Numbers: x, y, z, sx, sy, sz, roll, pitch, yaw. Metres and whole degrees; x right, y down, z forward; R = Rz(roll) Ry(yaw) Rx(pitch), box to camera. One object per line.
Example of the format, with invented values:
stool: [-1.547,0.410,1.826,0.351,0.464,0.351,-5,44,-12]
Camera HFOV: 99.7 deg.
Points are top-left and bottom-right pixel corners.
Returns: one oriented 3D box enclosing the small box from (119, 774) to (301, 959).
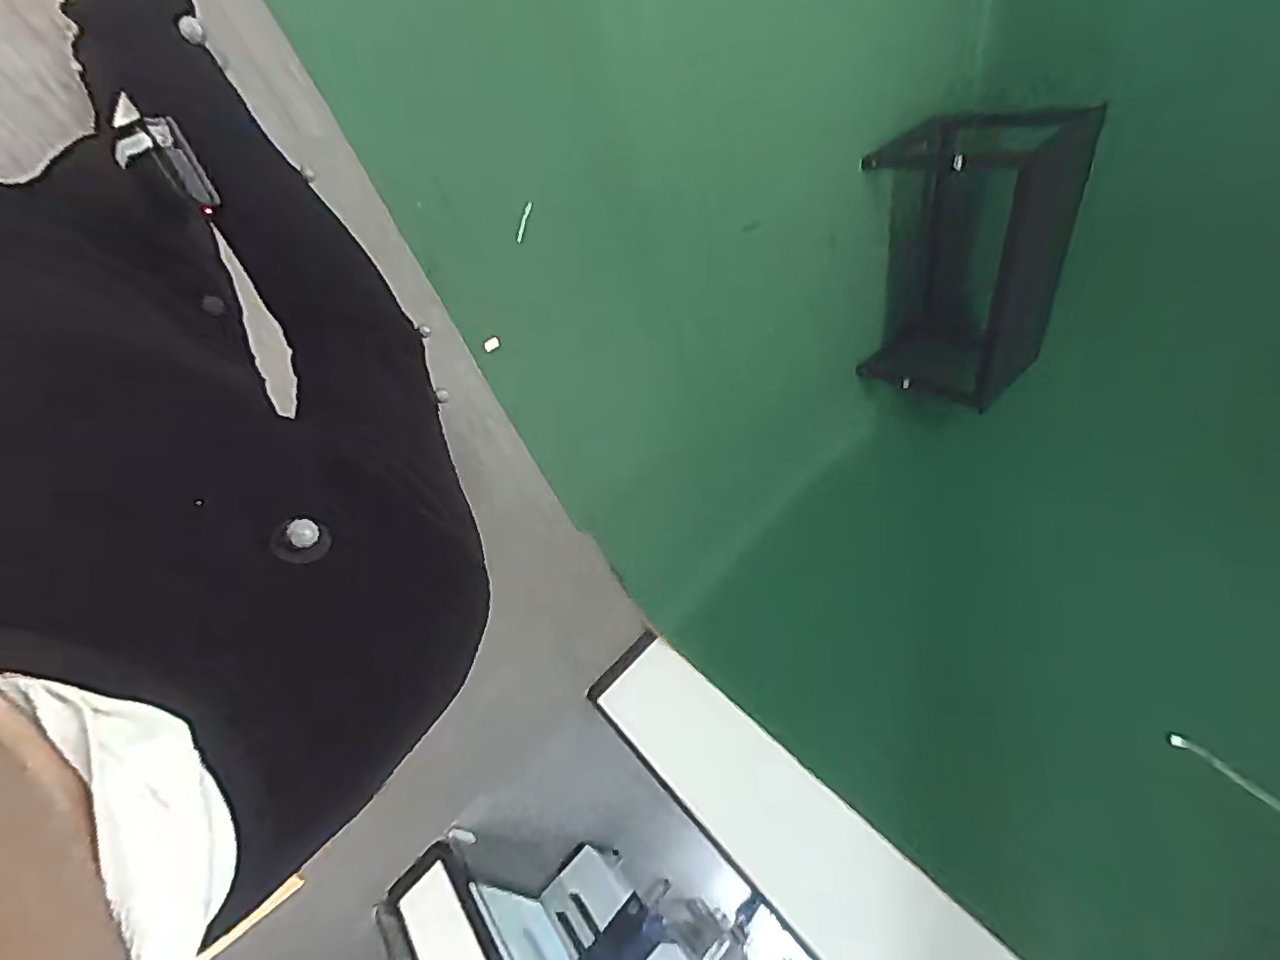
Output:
small box: [-0.702,0.630,0.891,0.168,0.176,0.179,-33,133,-26]
